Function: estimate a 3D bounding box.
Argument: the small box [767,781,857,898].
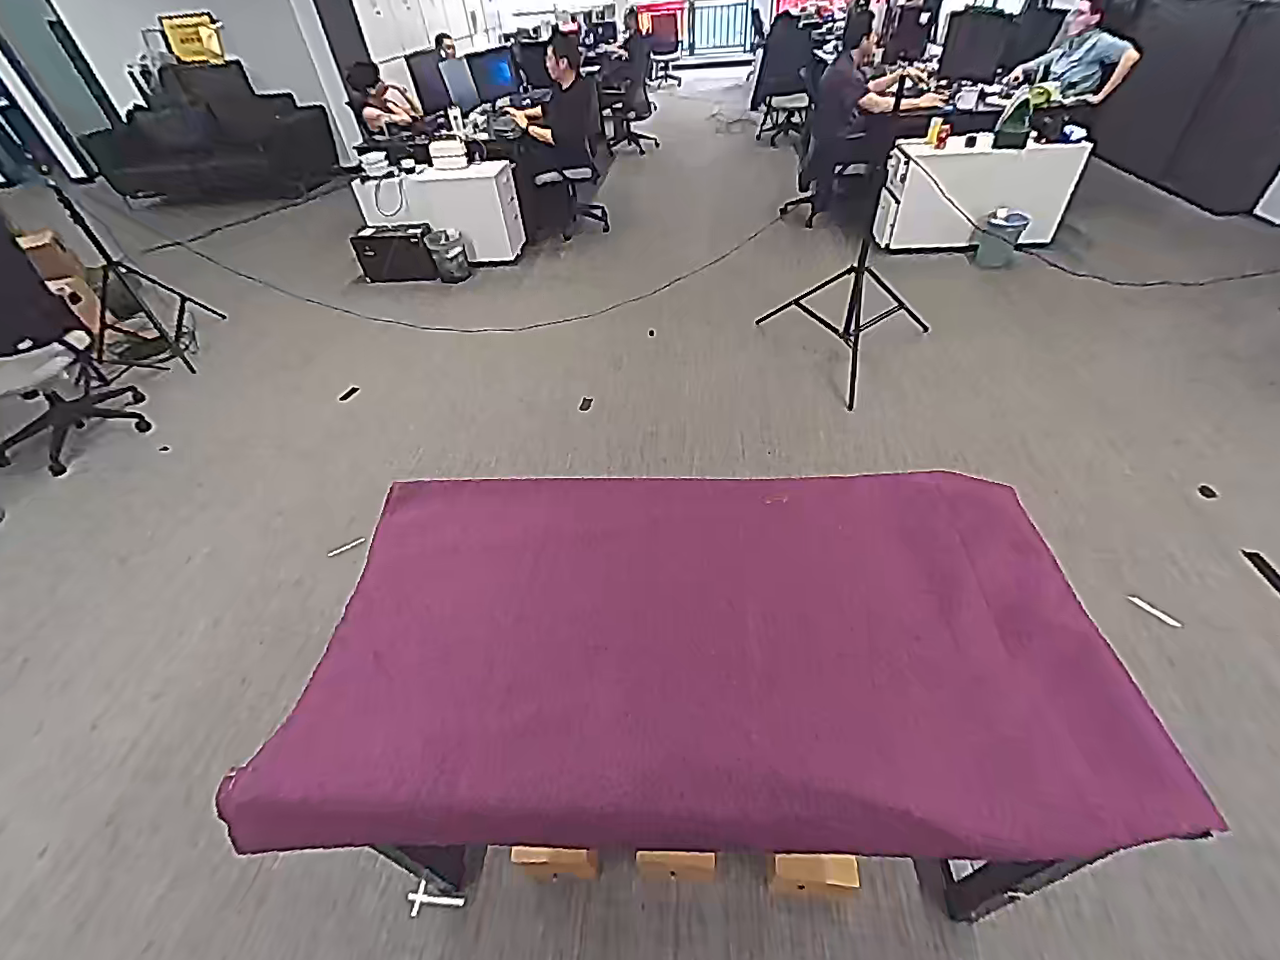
[{"bbox_3d":[0.375,0.804,1.207,0.168,0.176,0.179,3,43,9],"label":"small box"}]

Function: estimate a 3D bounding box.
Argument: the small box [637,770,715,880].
[{"bbox_3d":[0.088,0.794,1.243,0.168,0.176,0.179,1,43,6],"label":"small box"}]
